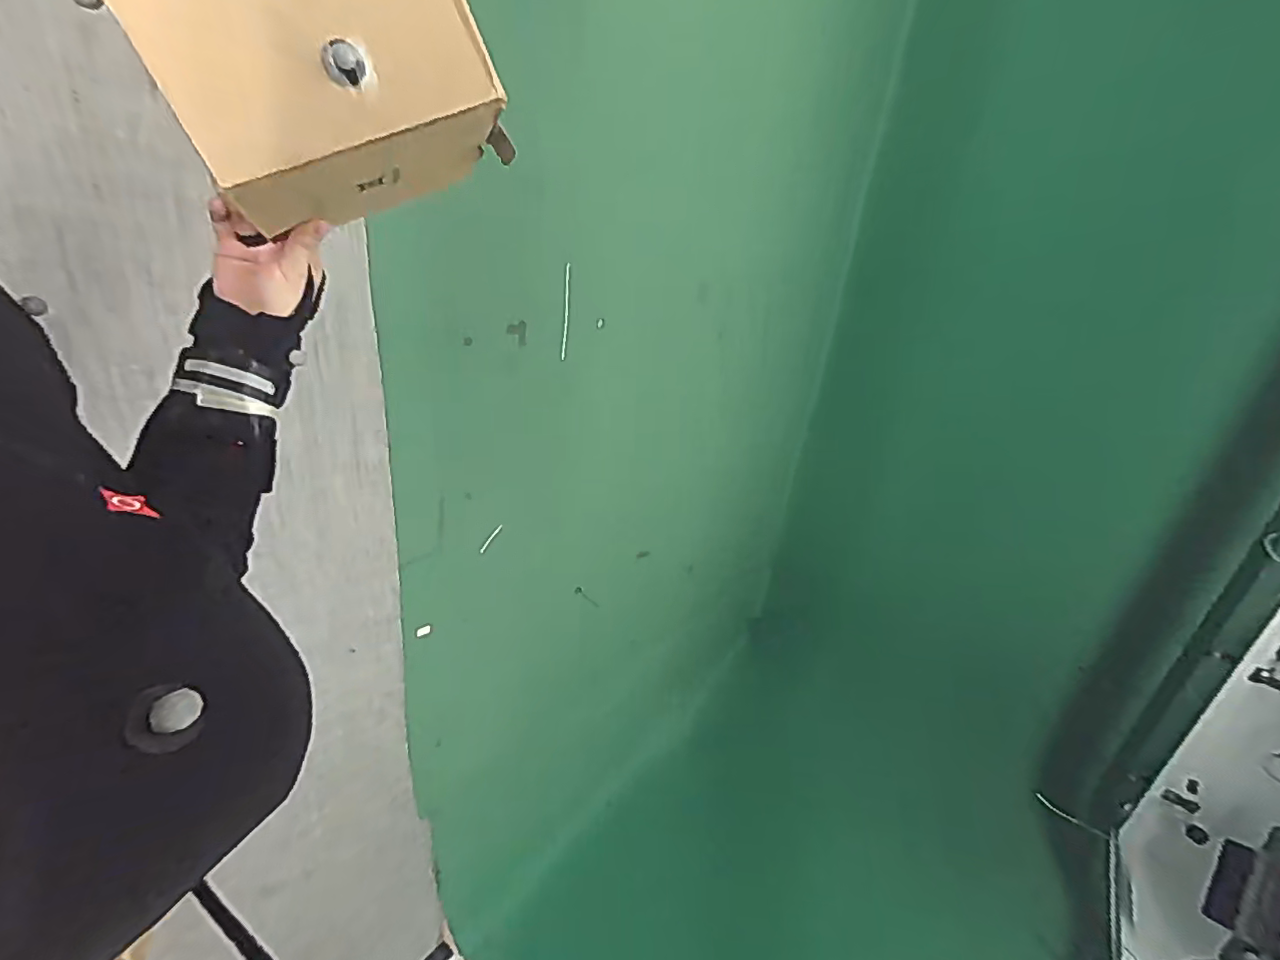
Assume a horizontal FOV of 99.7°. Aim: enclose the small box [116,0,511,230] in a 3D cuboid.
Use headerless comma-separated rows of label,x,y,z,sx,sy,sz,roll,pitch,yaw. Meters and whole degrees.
small box,-0.212,-0.290,0.347,0.179,0.168,0.176,-29,112,-16
